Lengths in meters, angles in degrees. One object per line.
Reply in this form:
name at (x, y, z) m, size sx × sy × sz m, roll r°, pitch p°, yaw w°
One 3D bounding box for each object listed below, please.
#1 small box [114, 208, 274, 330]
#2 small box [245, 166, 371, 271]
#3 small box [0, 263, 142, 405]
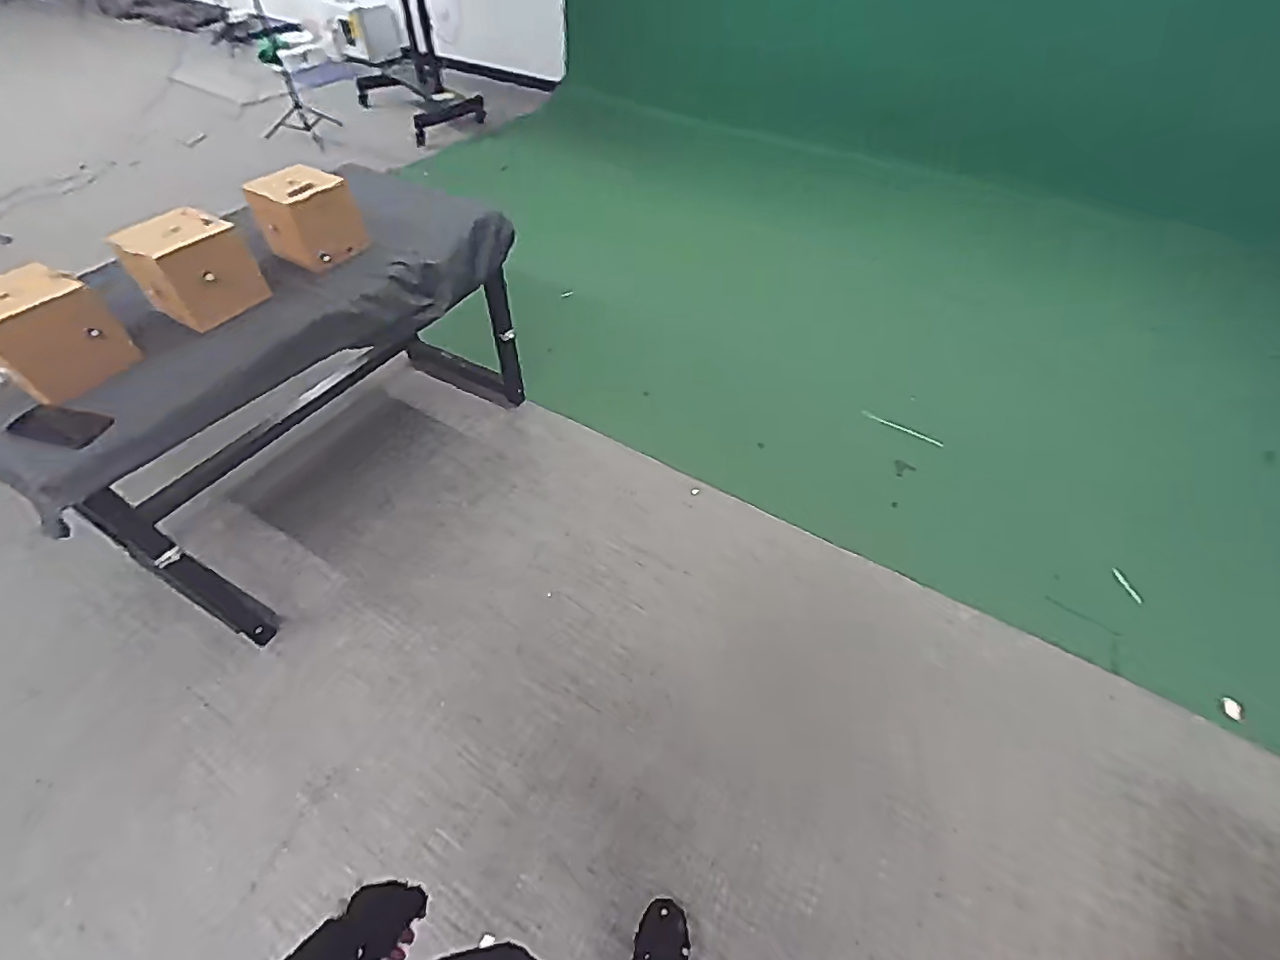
small box at (-0.954, -0.456, 1.176) m, size 0.168 × 0.176 × 0.179 m, roll 25°, pitch 54°, yaw 17°
small box at (-0.807, -0.641, 1.336) m, size 0.179 × 0.176 × 0.168 m, roll 26°, pitch 54°, yaw 19°
small box at (-1.105, -0.273, 1.018) m, size 0.168 × 0.176 × 0.179 m, roll 22°, pitch 54°, yaw 17°
